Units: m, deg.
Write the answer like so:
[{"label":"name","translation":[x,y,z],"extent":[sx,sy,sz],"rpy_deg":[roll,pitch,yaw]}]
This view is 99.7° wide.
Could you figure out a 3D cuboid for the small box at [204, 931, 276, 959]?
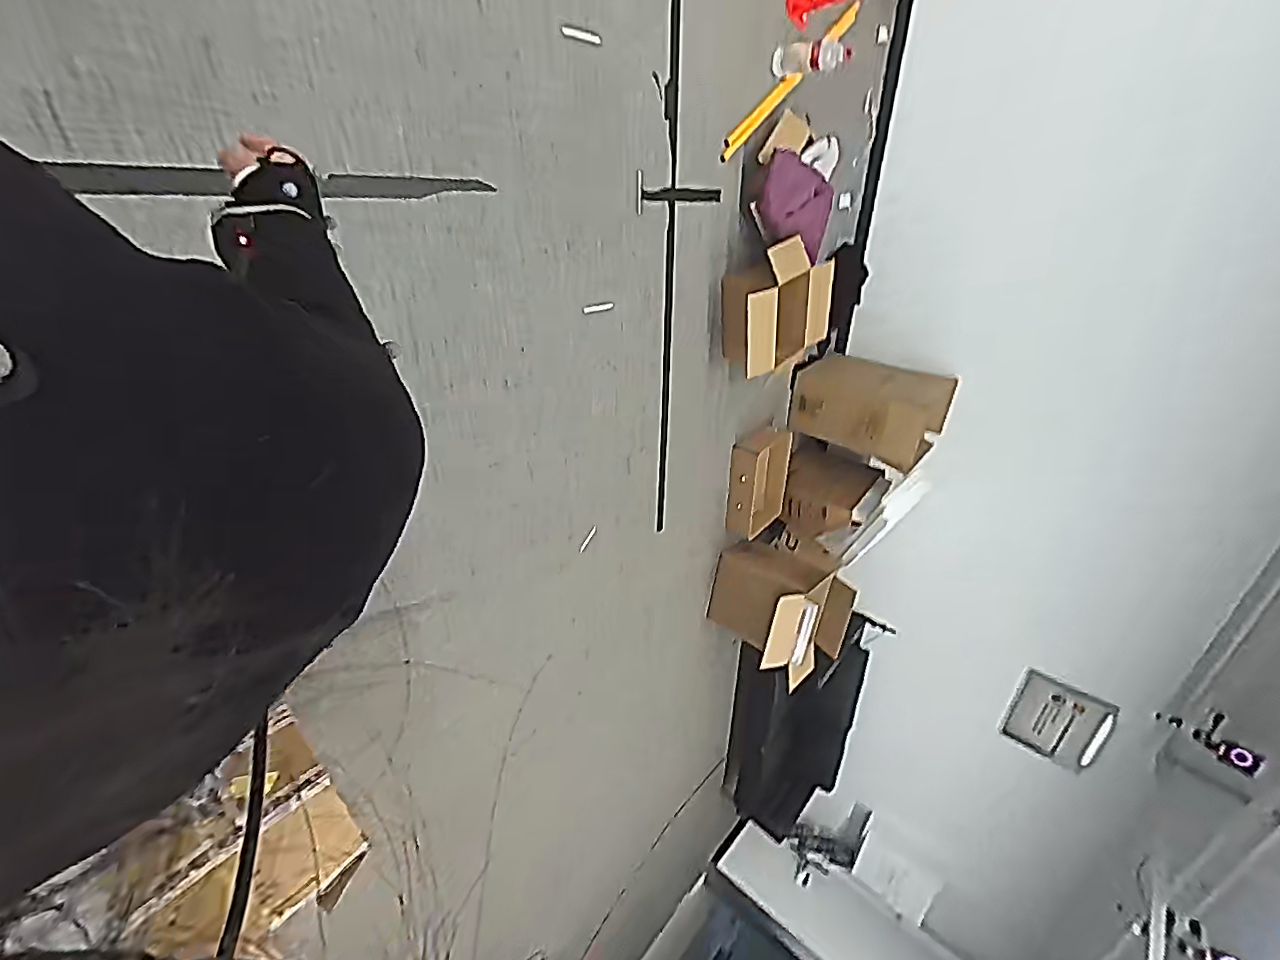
[{"label":"small box","translation":[-0.733,0.957,0.948],"extent":[0.179,0.176,0.168],"rpy_deg":[-35,130,-36]}]

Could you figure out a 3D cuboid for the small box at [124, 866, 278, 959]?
[{"label":"small box","translation":[-0.855,0.917,1.052],"extent":[0.179,0.176,0.168],"rpy_deg":[-35,130,-35]}]
